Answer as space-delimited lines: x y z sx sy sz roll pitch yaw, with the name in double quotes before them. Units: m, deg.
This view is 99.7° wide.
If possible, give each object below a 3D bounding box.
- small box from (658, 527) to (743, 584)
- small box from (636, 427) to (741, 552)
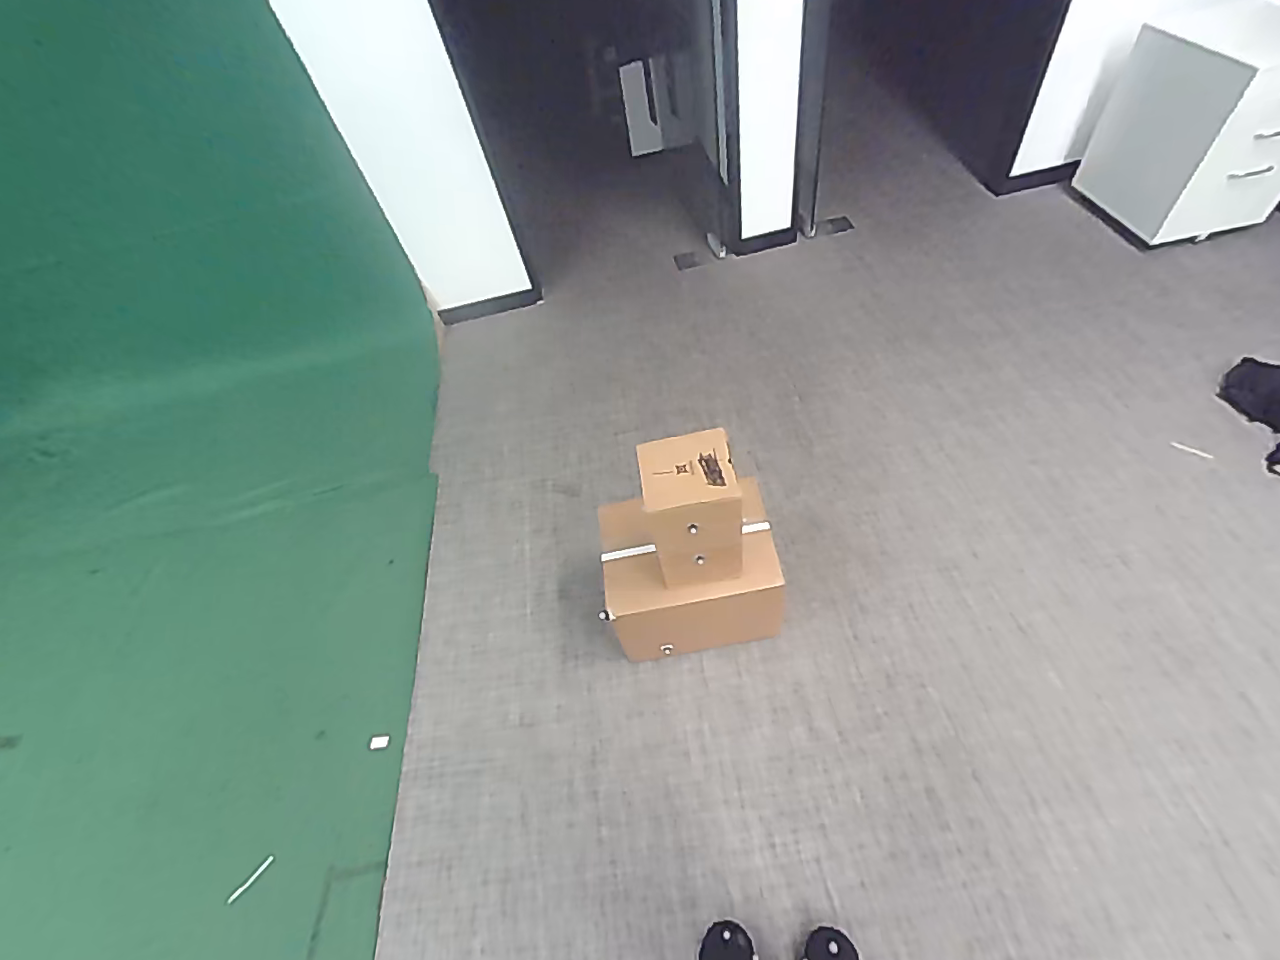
"small box" 0.126 0.116 1.201 0.179 0.176 0.168 -11 54 3
"small box" 0.099 0.024 1.067 0.179 0.176 0.168 -12 53 5
